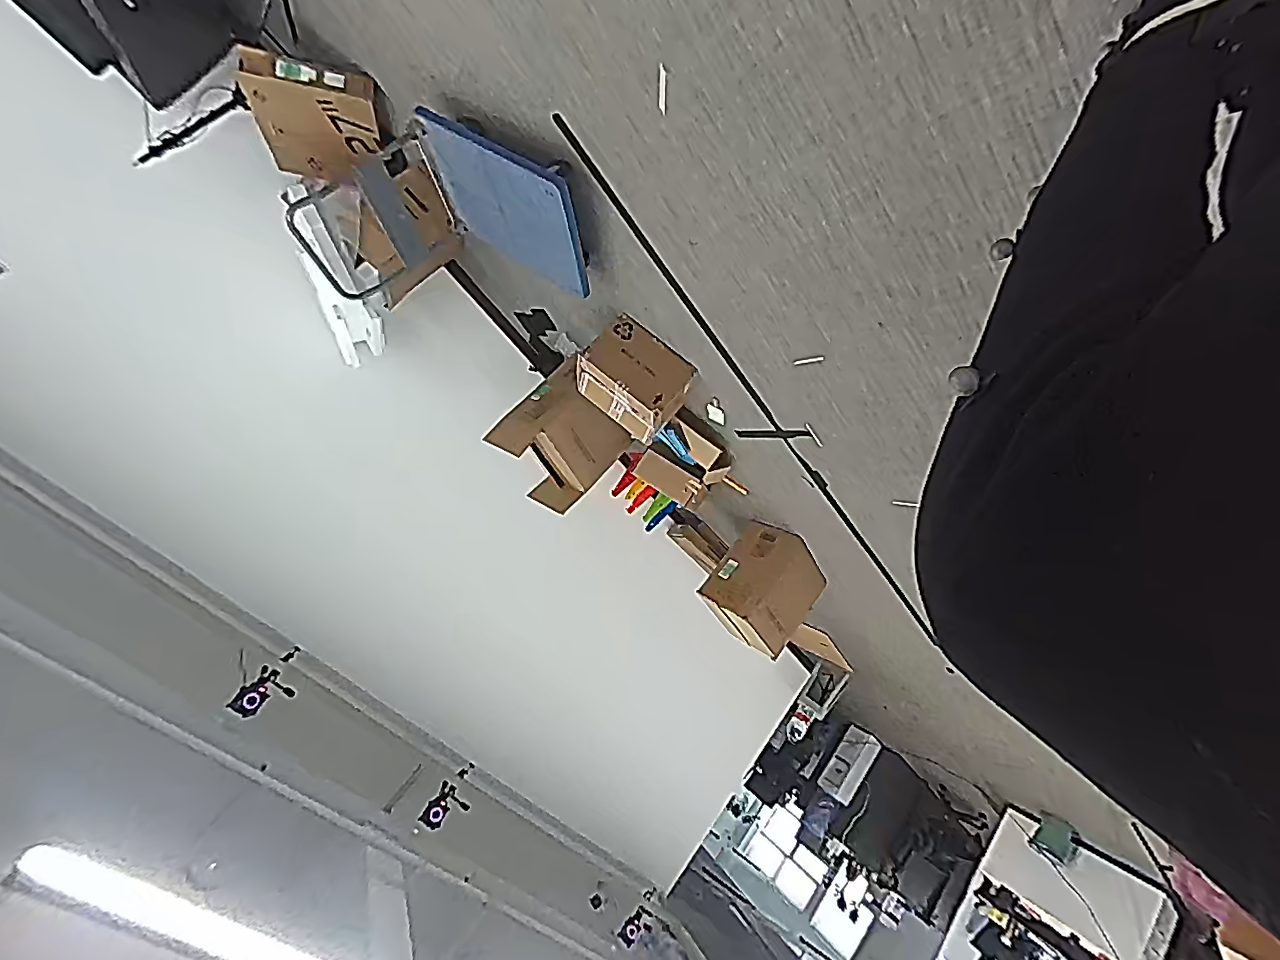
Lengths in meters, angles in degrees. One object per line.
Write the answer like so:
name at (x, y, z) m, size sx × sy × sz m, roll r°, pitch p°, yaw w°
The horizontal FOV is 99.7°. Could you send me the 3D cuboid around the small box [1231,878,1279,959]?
small box at (1.463, 1.040, 1.198) m, size 0.179 × 0.176 × 0.168 m, roll 48°, pitch 162°, yaw -26°
